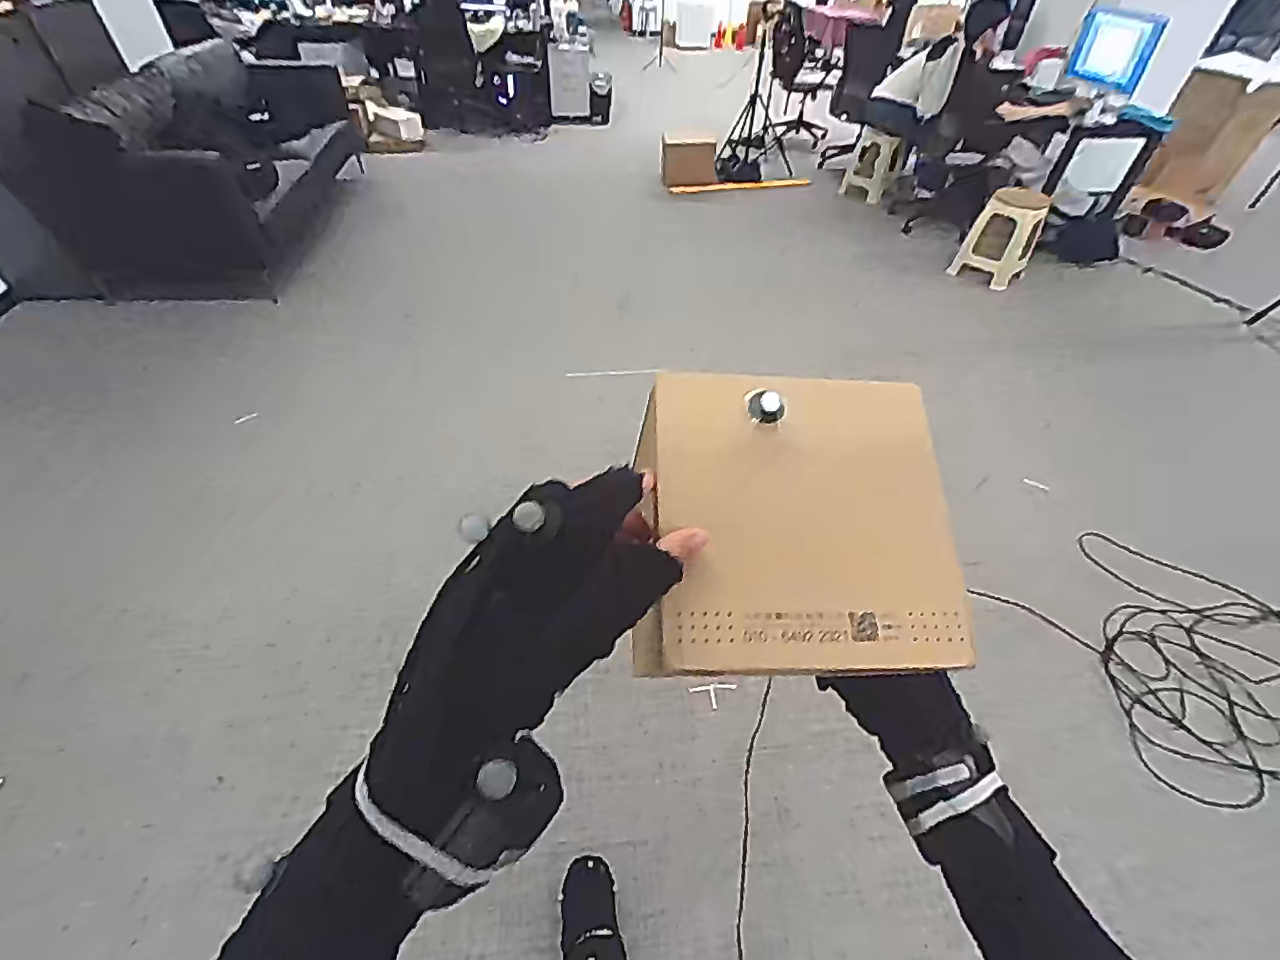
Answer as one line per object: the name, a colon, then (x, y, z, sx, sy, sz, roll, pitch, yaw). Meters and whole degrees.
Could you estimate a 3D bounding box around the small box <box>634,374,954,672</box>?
small box: (0.083, 0.046, 0.385, 0.168, 0.179, 0.176, 1, 69, -6)
